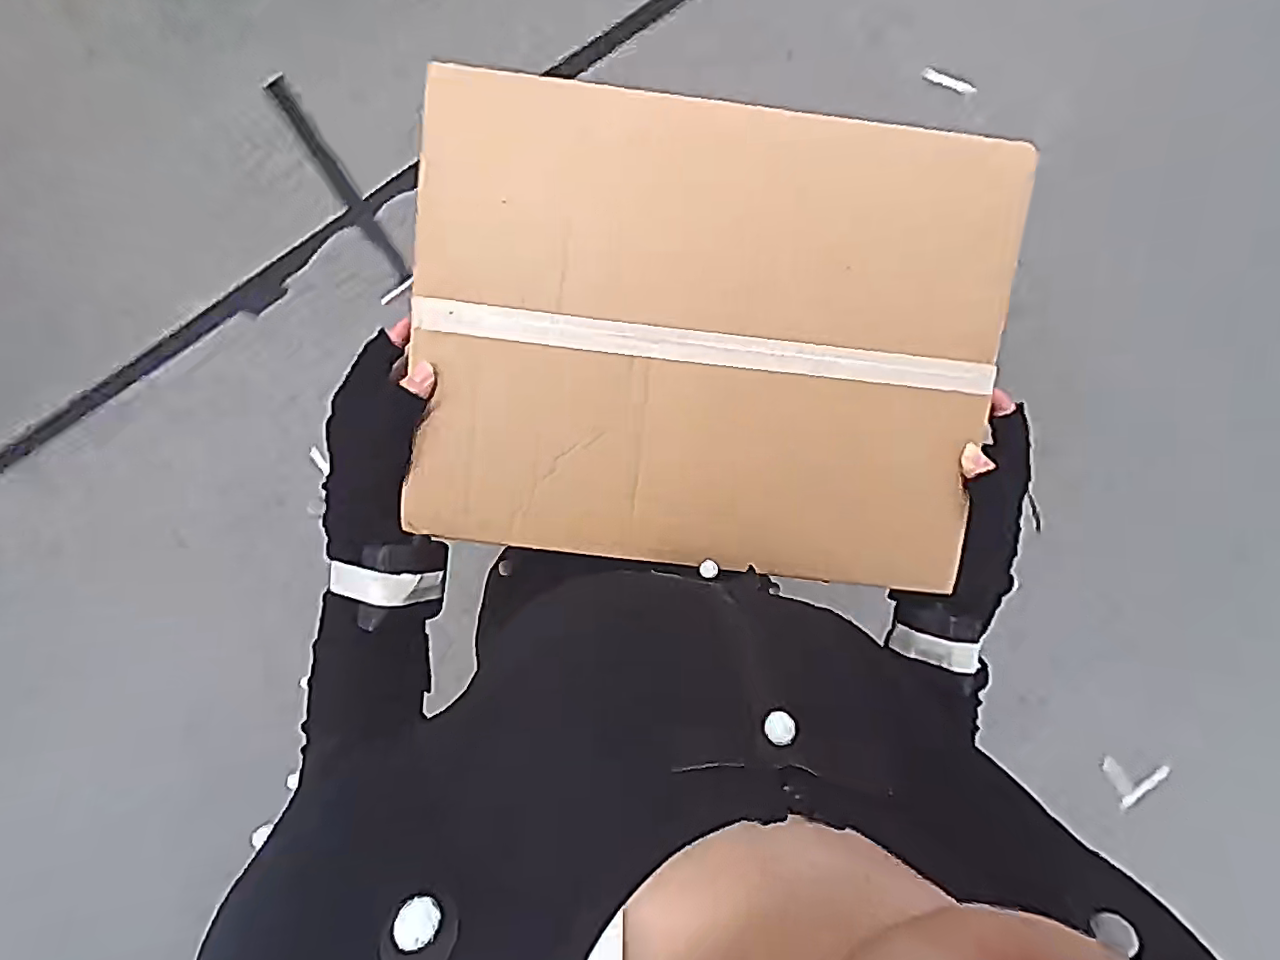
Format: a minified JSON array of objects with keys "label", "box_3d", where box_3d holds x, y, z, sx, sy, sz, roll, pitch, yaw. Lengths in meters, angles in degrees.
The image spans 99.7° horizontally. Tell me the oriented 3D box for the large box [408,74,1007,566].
[{"label":"large box","box_3d":[0.038,-0.124,0.528,0.408,0.320,0.320,6,98,-2]}]
